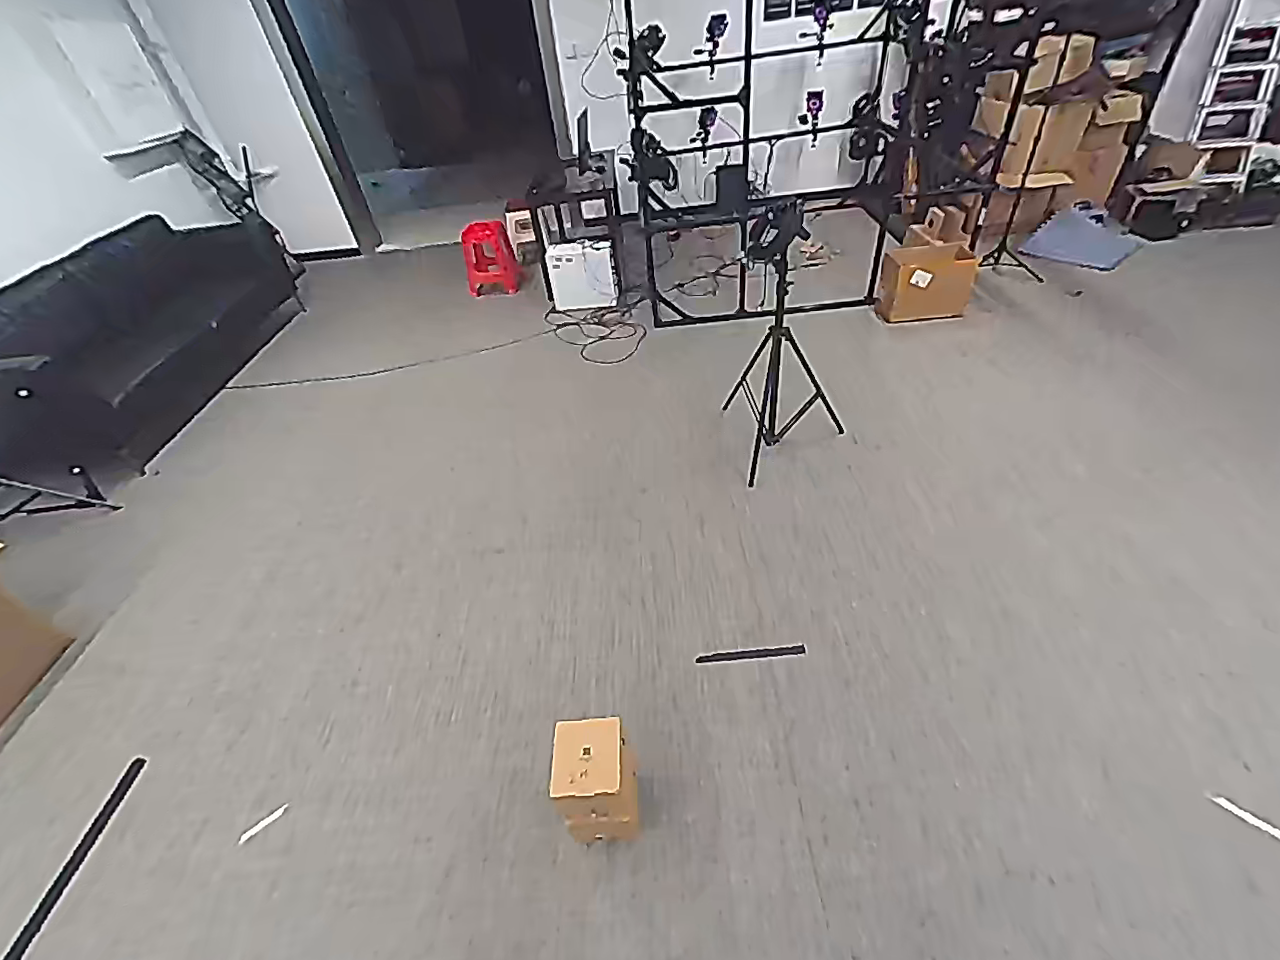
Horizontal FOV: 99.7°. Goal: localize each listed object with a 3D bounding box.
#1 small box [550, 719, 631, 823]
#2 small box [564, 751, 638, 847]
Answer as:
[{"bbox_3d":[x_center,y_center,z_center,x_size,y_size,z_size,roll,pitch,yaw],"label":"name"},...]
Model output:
[{"bbox_3d":[-0.116,0.715,1.329,0.168,0.176,0.179,-7,42,4],"label":"small box"},{"bbox_3d":[-0.097,0.842,1.431,0.168,0.176,0.179,-7,41,4],"label":"small box"}]
